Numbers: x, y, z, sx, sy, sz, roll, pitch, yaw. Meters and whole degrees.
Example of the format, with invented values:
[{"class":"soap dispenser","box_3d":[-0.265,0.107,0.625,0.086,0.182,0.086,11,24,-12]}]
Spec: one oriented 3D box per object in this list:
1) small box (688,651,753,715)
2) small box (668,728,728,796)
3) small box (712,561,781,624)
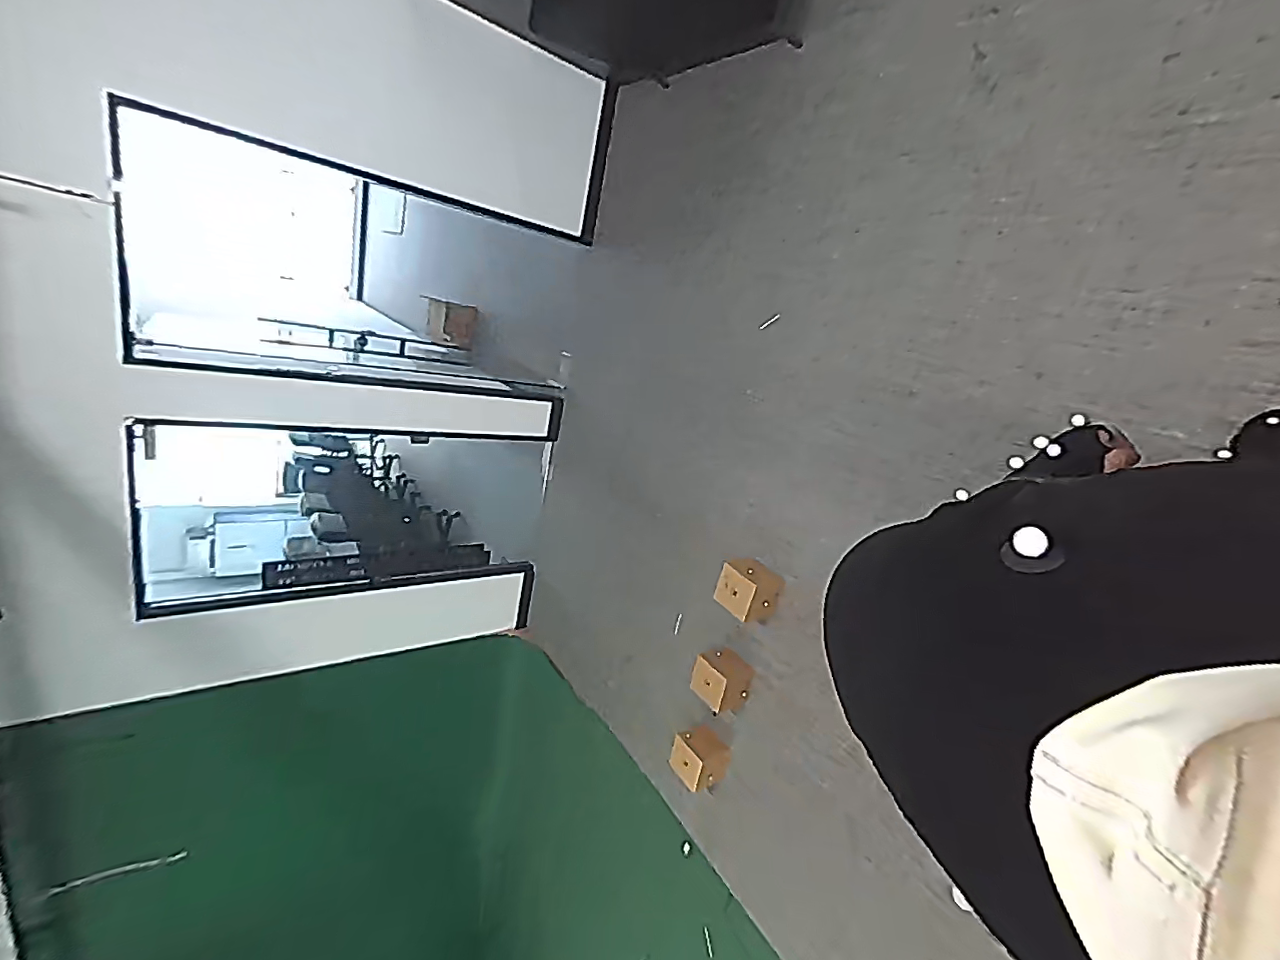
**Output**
[{"class":"small box","box_3d":[0.329,0.818,2.206,0.179,0.176,0.168,31,115,48]},{"class":"small box","box_3d":[0.249,1.196,2.311,0.179,0.176,0.168,31,115,49]},{"class":"small box","box_3d":[0.414,0.425,2.088,0.179,0.176,0.168,36,118,46]}]
